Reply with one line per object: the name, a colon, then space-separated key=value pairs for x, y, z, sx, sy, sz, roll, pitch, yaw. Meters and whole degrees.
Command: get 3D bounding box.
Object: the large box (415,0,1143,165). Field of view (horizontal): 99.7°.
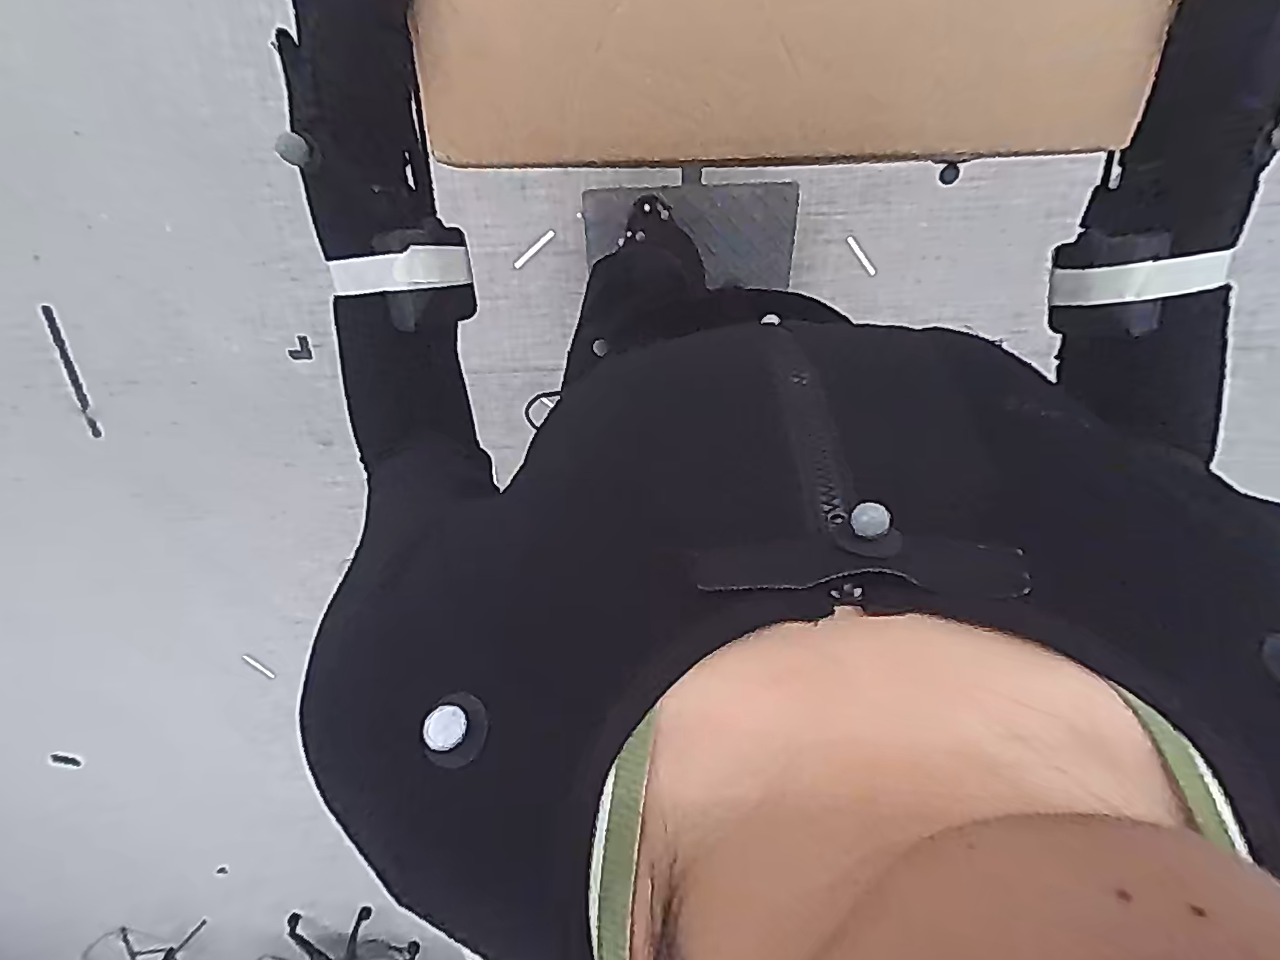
large box: x=0.075 y=-0.406 z=0.377 sx=0.408 sy=0.320 sz=0.320 roll=-1 pitch=120 yaw=0
